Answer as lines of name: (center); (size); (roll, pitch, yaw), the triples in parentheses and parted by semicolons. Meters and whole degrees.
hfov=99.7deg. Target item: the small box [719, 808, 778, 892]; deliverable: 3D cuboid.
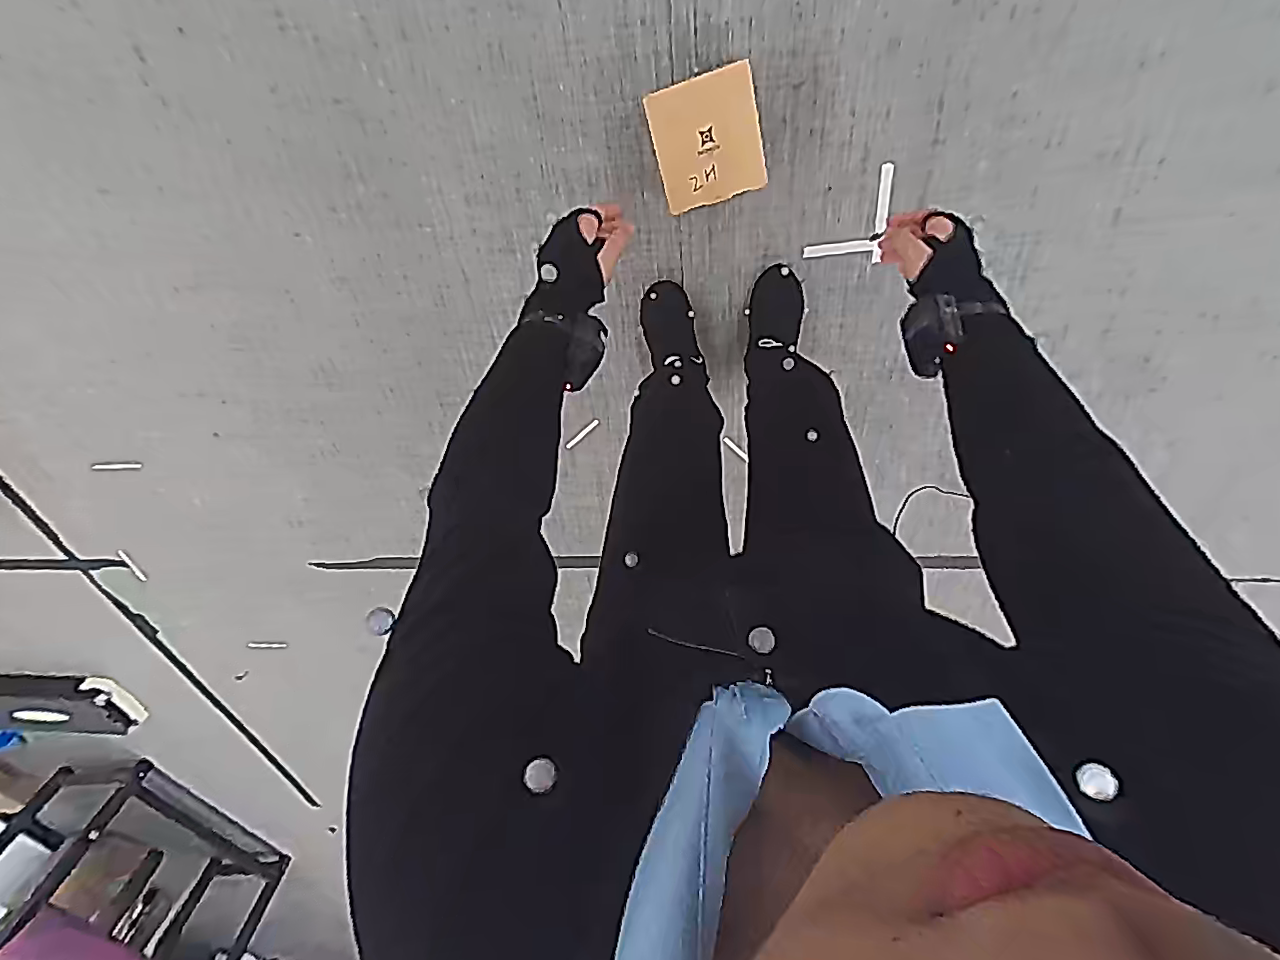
small box: (0.340, 1.177, 1.721); (0.168, 0.176, 0.179); (-2, 124, 6)

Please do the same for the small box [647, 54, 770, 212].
small box: (0.114, -0.575, 0.903); (0.168, 0.176, 0.179); (-11, 124, 13)
